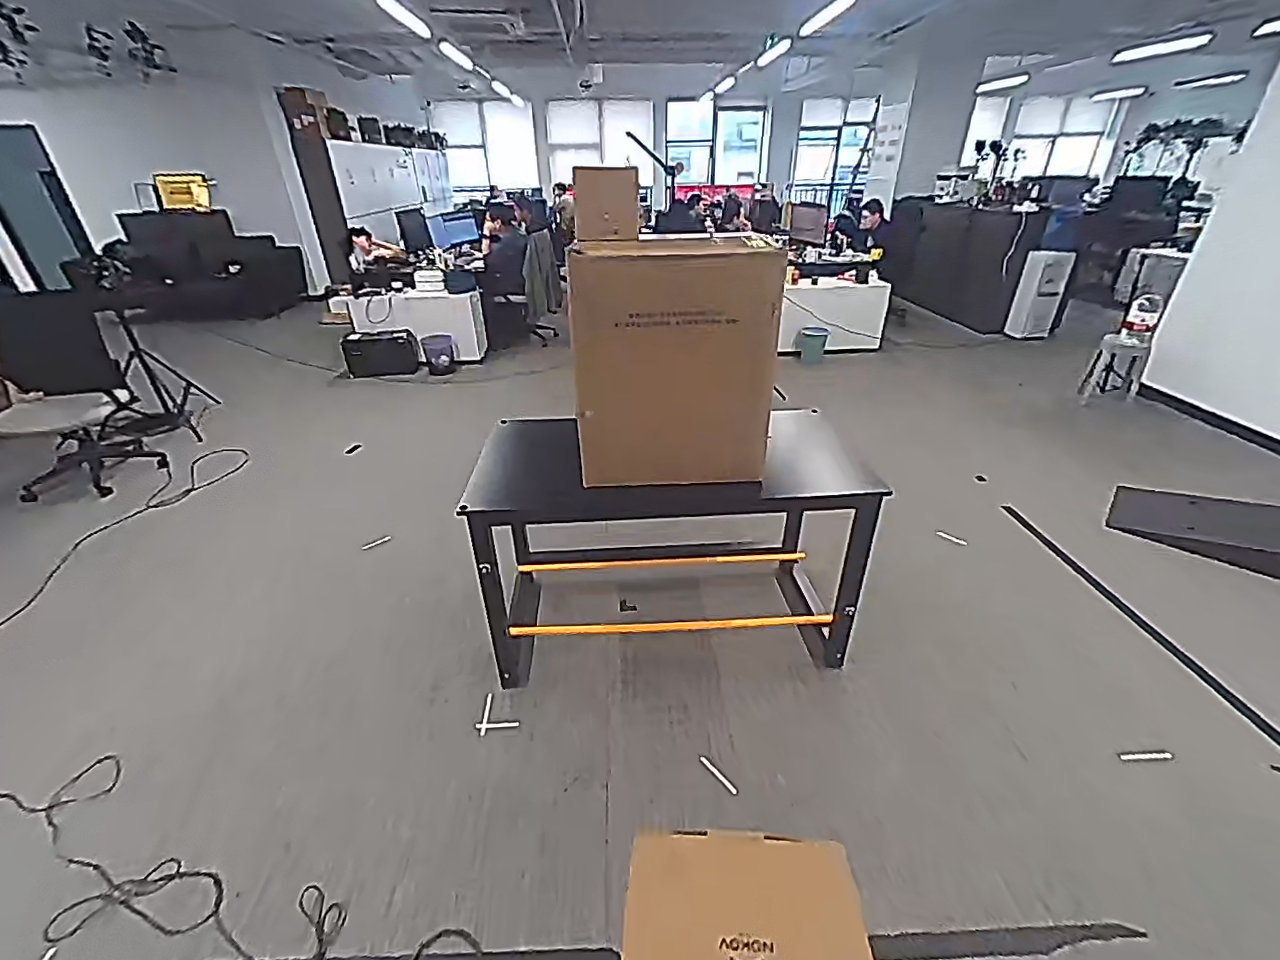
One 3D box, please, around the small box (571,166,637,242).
[{"bbox_3d":[-0.095,-0.732,1.438,0.168,0.176,0.179,-3,28,-4],"label":"small box"}]
